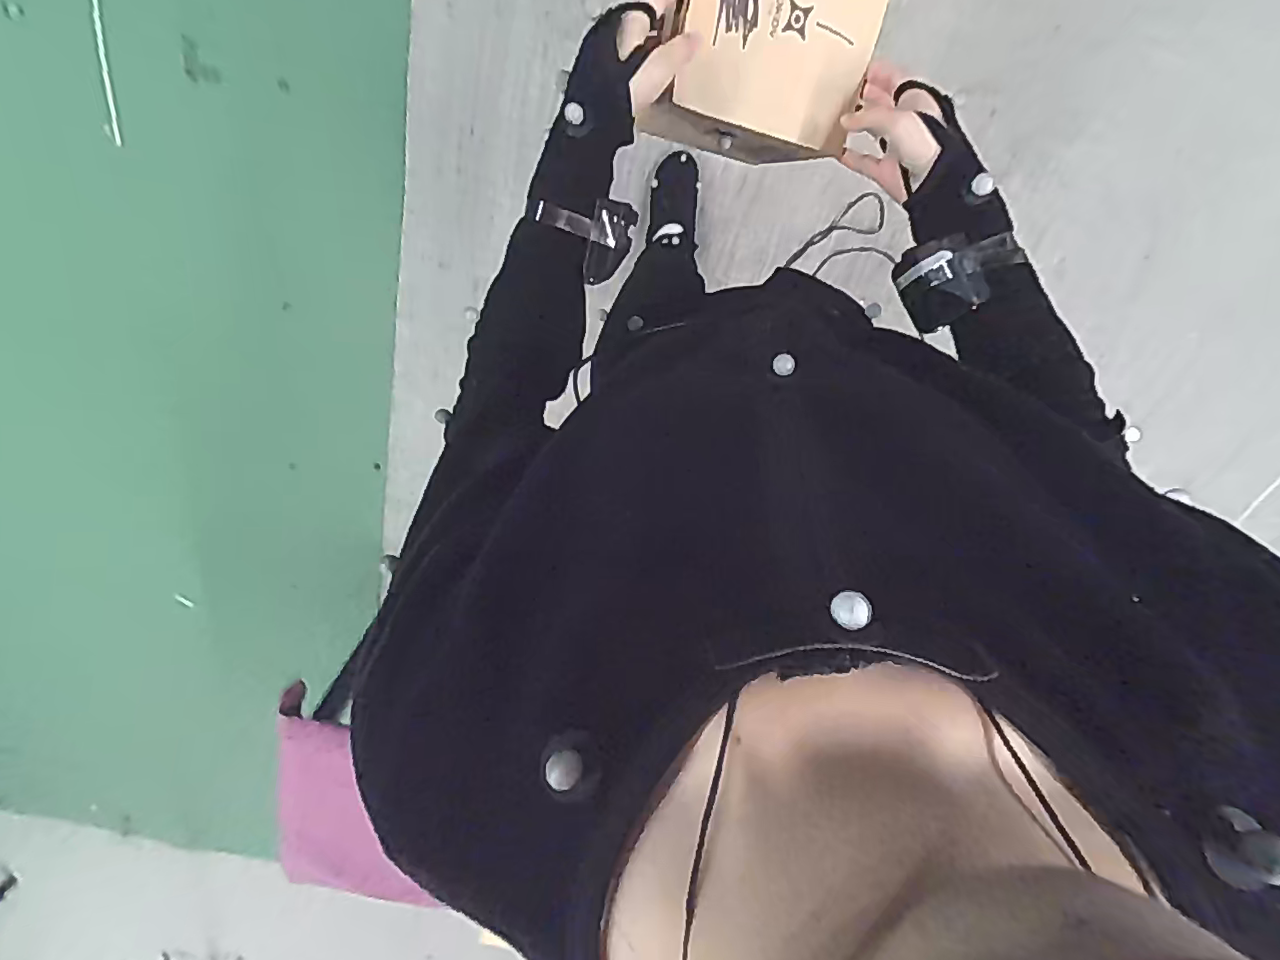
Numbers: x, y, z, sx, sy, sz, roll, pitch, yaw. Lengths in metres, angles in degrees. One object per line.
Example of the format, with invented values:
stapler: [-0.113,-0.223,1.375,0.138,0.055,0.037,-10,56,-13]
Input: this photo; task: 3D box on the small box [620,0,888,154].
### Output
small box: [0.093,-0.409,0.489,0.179,0.176,0.168,3,116,-21]
